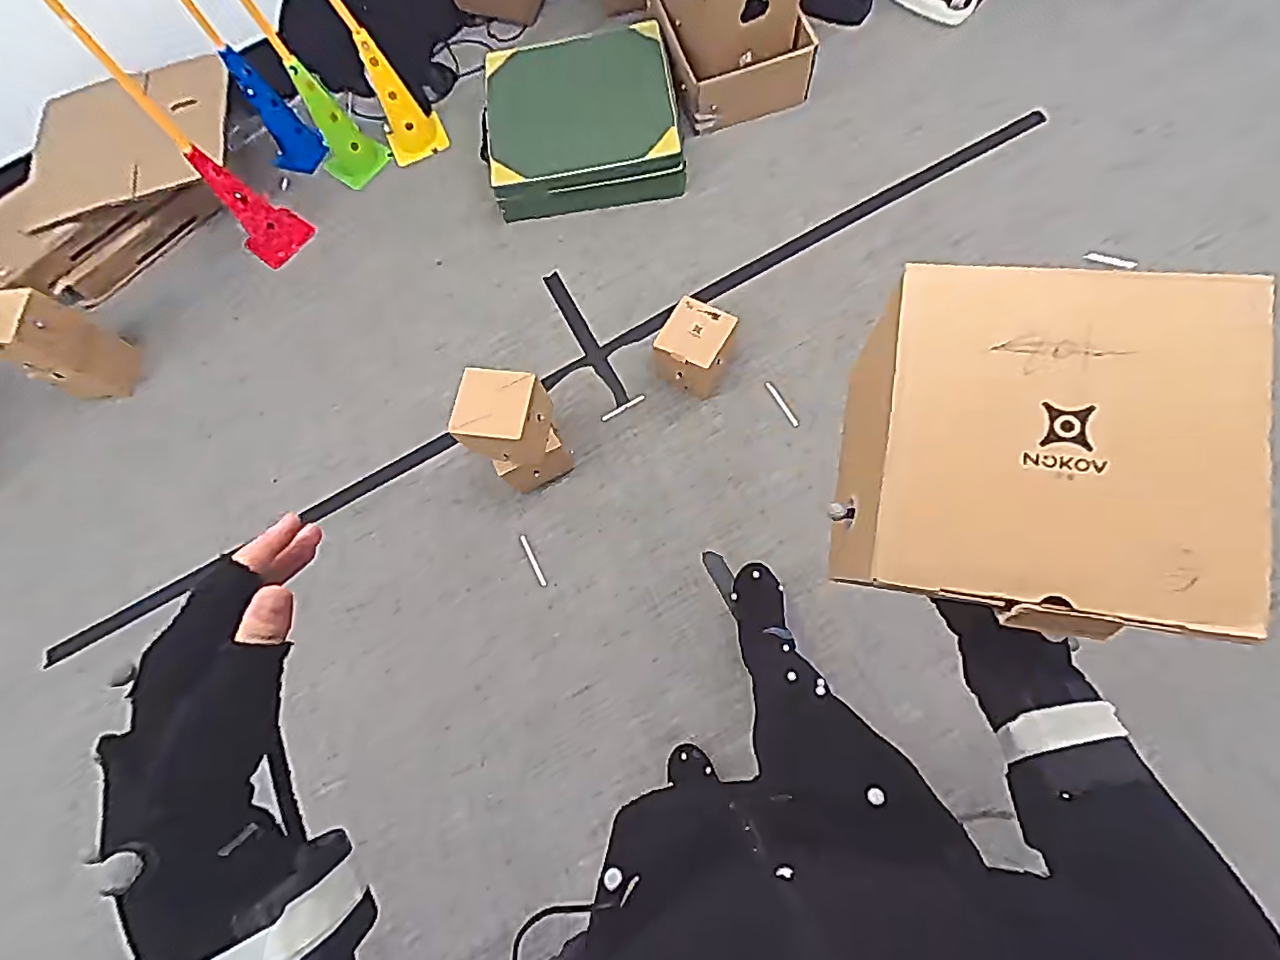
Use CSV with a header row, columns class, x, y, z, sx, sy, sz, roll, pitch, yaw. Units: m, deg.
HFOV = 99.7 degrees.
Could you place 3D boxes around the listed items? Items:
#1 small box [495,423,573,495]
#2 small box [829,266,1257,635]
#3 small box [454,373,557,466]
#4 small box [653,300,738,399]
class,x,y,z,sx,sy,sz,roll,pitch,yaw
small box,-0.294,-0.082,1.458,0.179,0.176,0.168,-27,71,-1
small box,0.226,-0.013,0.352,0.168,0.176,0.179,8,83,12
small box,-0.318,-0.143,1.304,0.179,0.176,0.168,6,73,10
small box,0.155,-0.353,1.494,0.168,0.176,0.179,29,78,13
